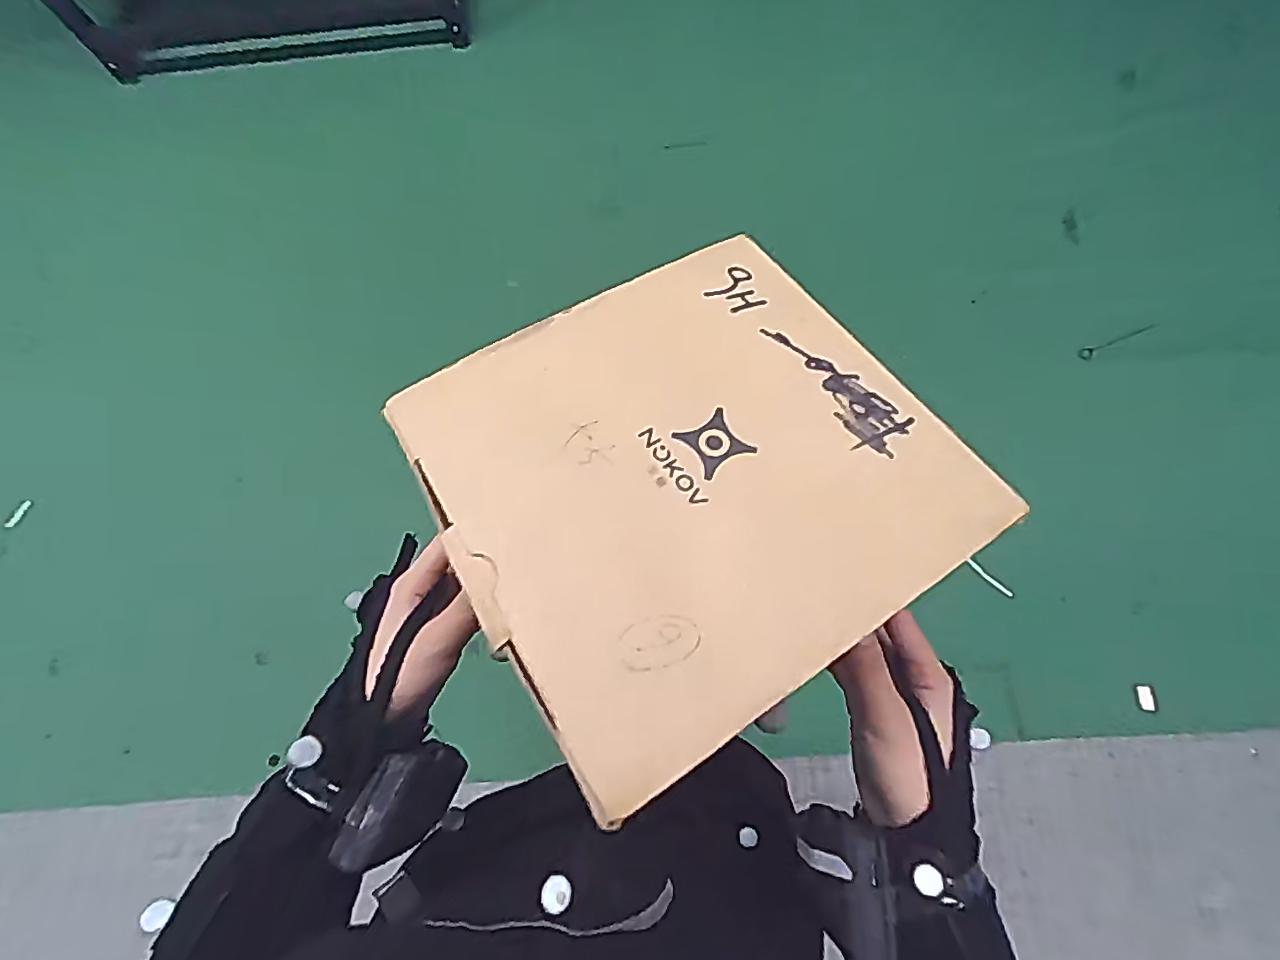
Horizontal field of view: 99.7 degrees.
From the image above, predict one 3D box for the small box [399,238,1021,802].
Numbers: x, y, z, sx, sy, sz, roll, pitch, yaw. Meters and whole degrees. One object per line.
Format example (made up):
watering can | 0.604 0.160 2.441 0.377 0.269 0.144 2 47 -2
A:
small box | 0.021 0.026 0.270 0.179 0.176 0.168 -30 67 -14
